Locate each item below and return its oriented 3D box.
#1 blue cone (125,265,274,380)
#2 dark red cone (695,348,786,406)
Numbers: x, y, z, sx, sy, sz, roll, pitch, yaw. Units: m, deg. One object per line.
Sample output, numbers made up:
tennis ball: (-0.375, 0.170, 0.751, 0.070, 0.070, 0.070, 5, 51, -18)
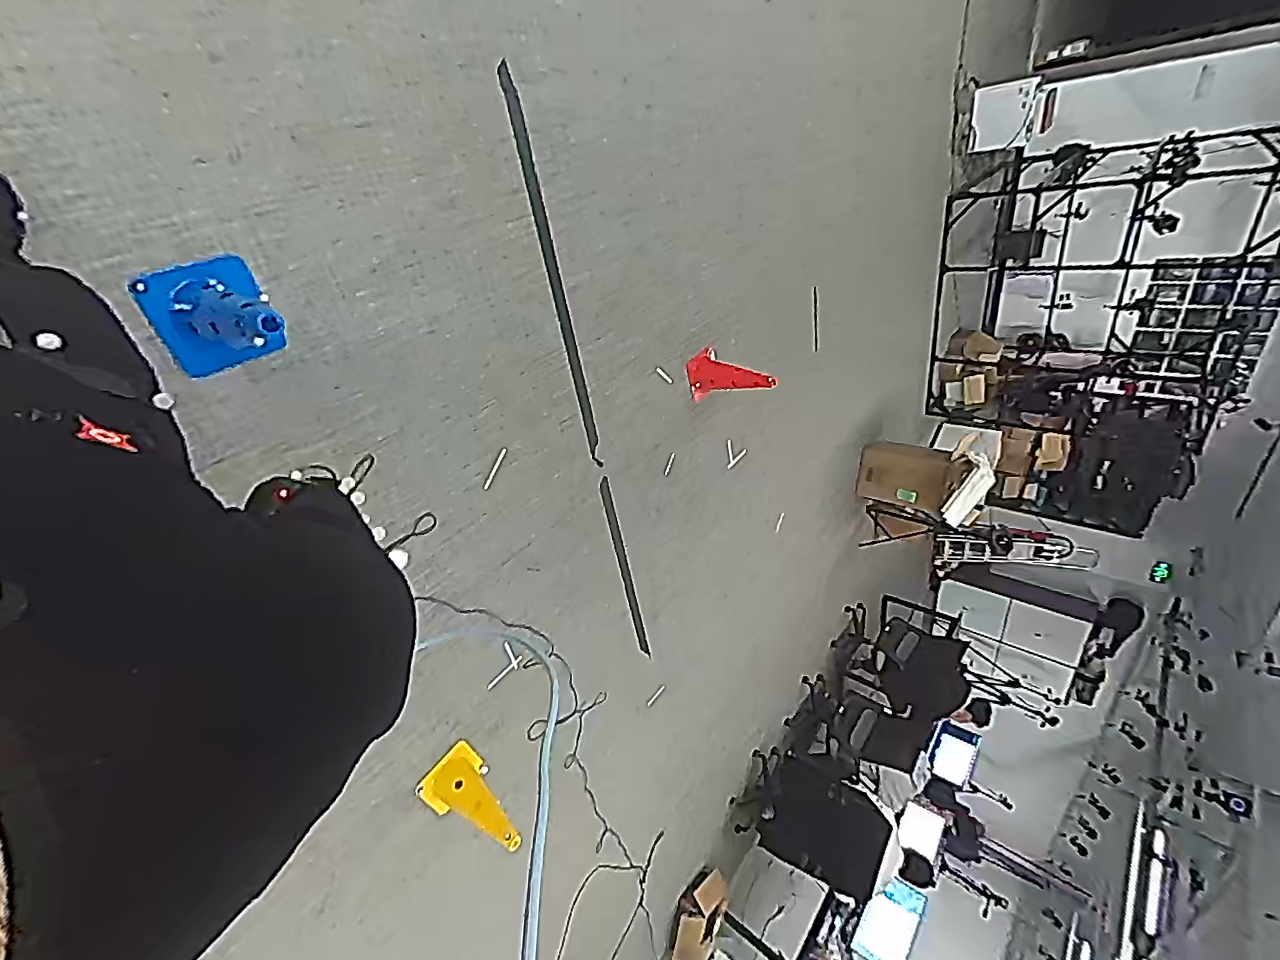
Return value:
blue cone: (-0.731, -0.274, 0.963, 0.192, 0.380, 0.193, -36, 129, -36)
dark red cone: (0.431, -0.416, 2.277, 0.201, 0.394, 0.202, -44, 133, -30)
